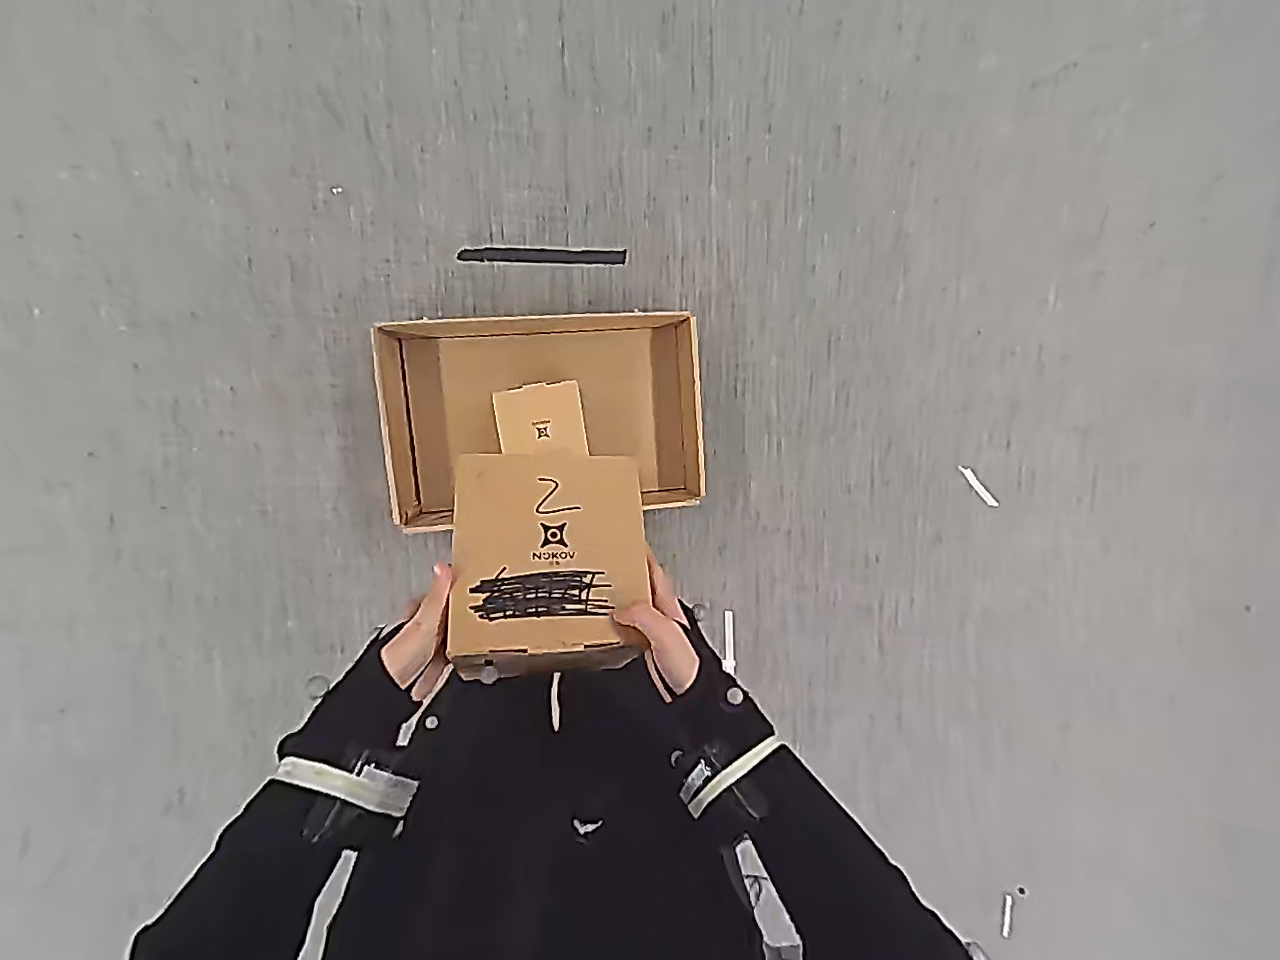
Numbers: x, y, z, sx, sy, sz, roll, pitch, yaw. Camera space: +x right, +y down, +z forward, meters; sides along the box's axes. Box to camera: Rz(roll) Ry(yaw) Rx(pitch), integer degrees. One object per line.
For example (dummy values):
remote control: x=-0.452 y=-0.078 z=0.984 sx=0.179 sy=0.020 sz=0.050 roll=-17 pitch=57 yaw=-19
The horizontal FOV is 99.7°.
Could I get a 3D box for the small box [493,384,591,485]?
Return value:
small box: x=-0.201 y=-0.095 z=1.118 sx=0.168 sy=0.176 sz=0.179 roll=-10 pitch=99 yaw=-8
